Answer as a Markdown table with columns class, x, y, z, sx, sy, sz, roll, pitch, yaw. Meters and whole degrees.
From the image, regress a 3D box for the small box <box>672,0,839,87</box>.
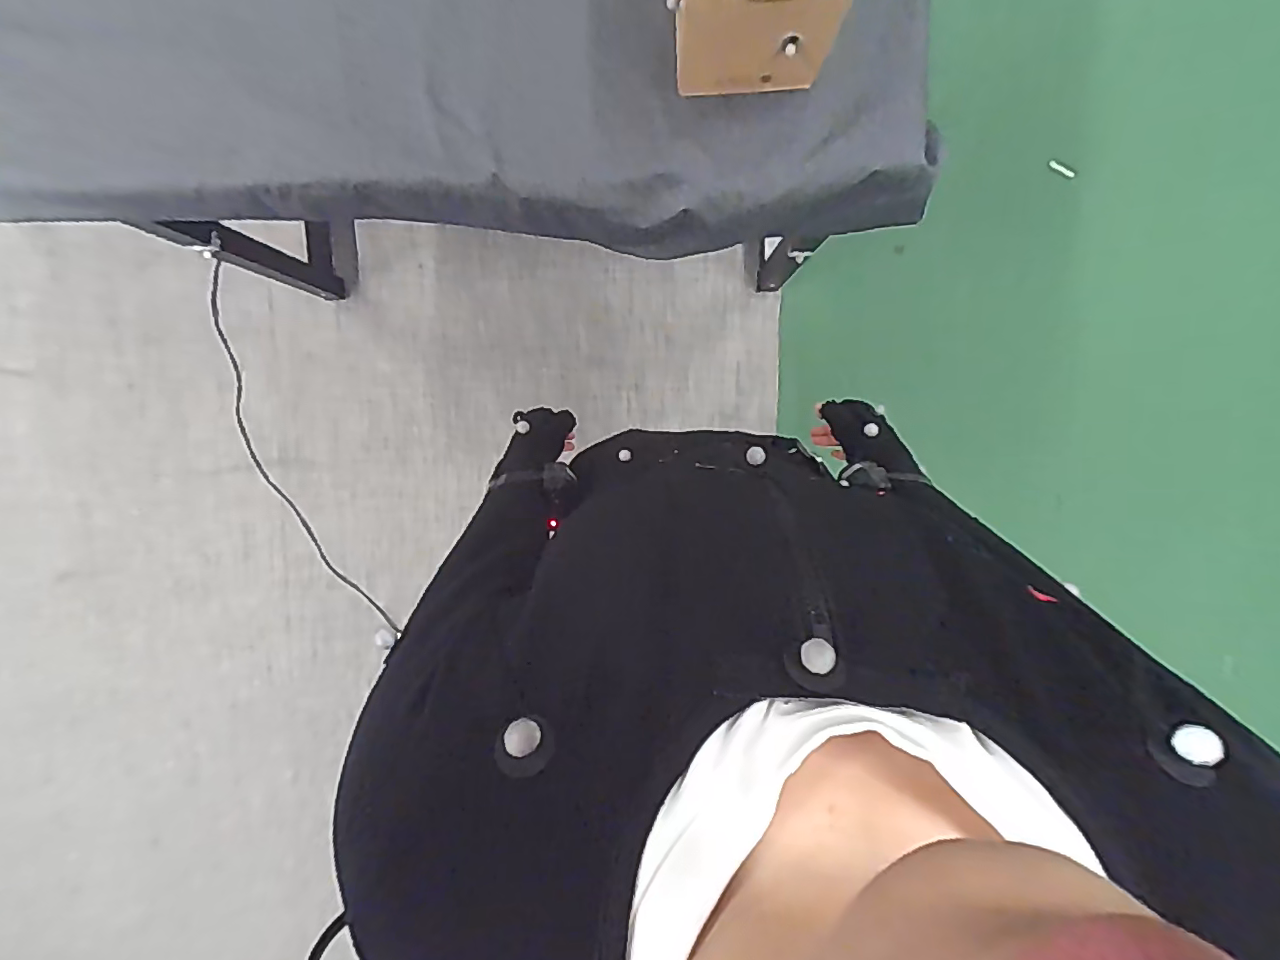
| class | x | y | z | sx | sy | sz | roll | pitch | yaw |
| --- | --- | --- | --- | --- | --- | --- | --- | --- | --- |
| small box | 0.122 | -0.563 | 0.588 | 0.168 | 0.176 | 0.179 | -3 | 95 | 1 |
